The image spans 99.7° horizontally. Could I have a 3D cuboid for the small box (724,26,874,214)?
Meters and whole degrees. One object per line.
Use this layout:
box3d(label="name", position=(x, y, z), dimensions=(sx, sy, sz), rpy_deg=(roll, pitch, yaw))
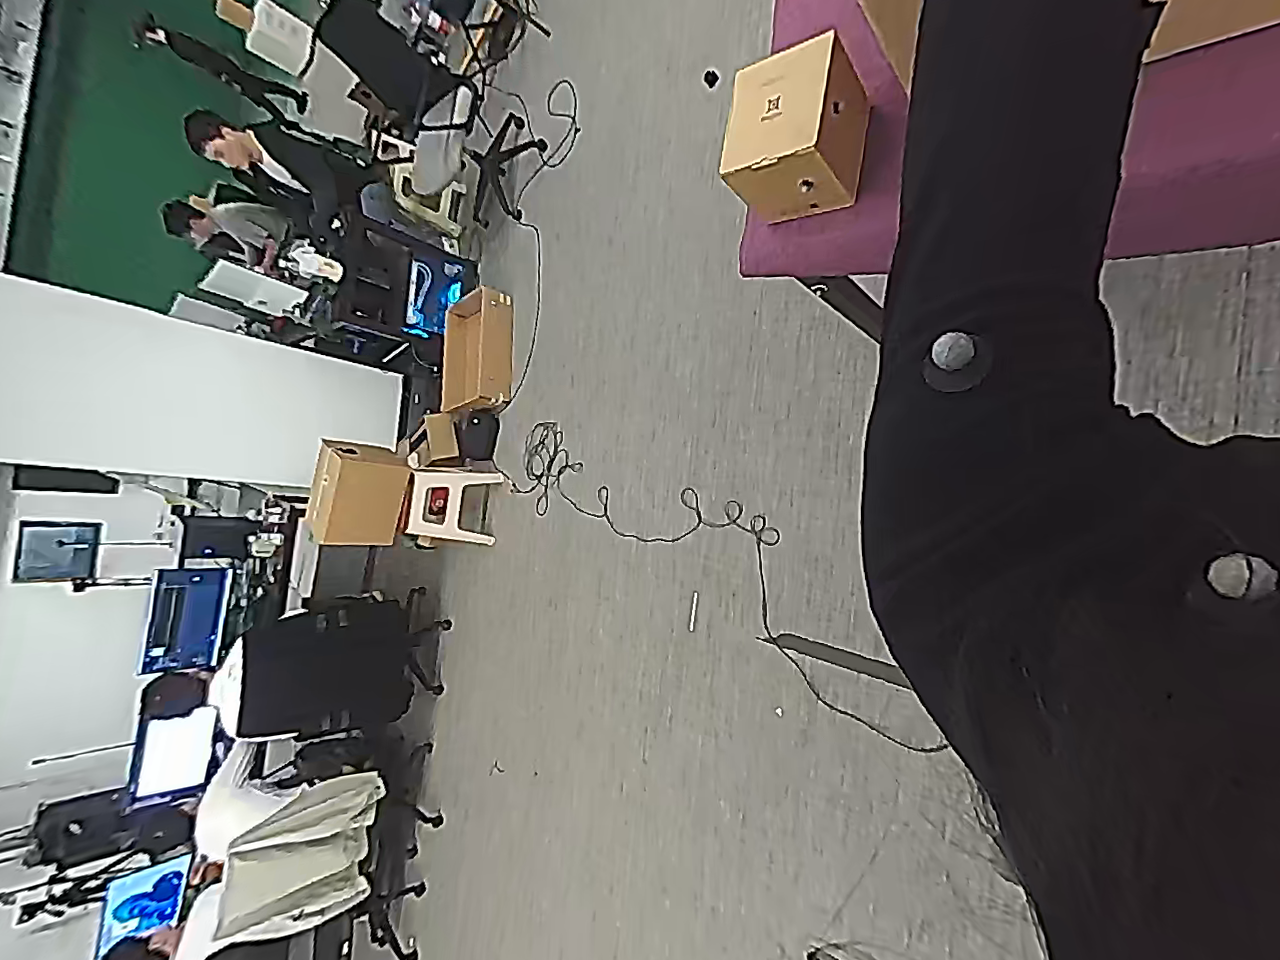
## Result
box3d(label="small box", position=(0.260, -0.556, 0.872), dimensions=(0.168, 0.176, 0.179), rpy_deg=(9, 88, 41))
